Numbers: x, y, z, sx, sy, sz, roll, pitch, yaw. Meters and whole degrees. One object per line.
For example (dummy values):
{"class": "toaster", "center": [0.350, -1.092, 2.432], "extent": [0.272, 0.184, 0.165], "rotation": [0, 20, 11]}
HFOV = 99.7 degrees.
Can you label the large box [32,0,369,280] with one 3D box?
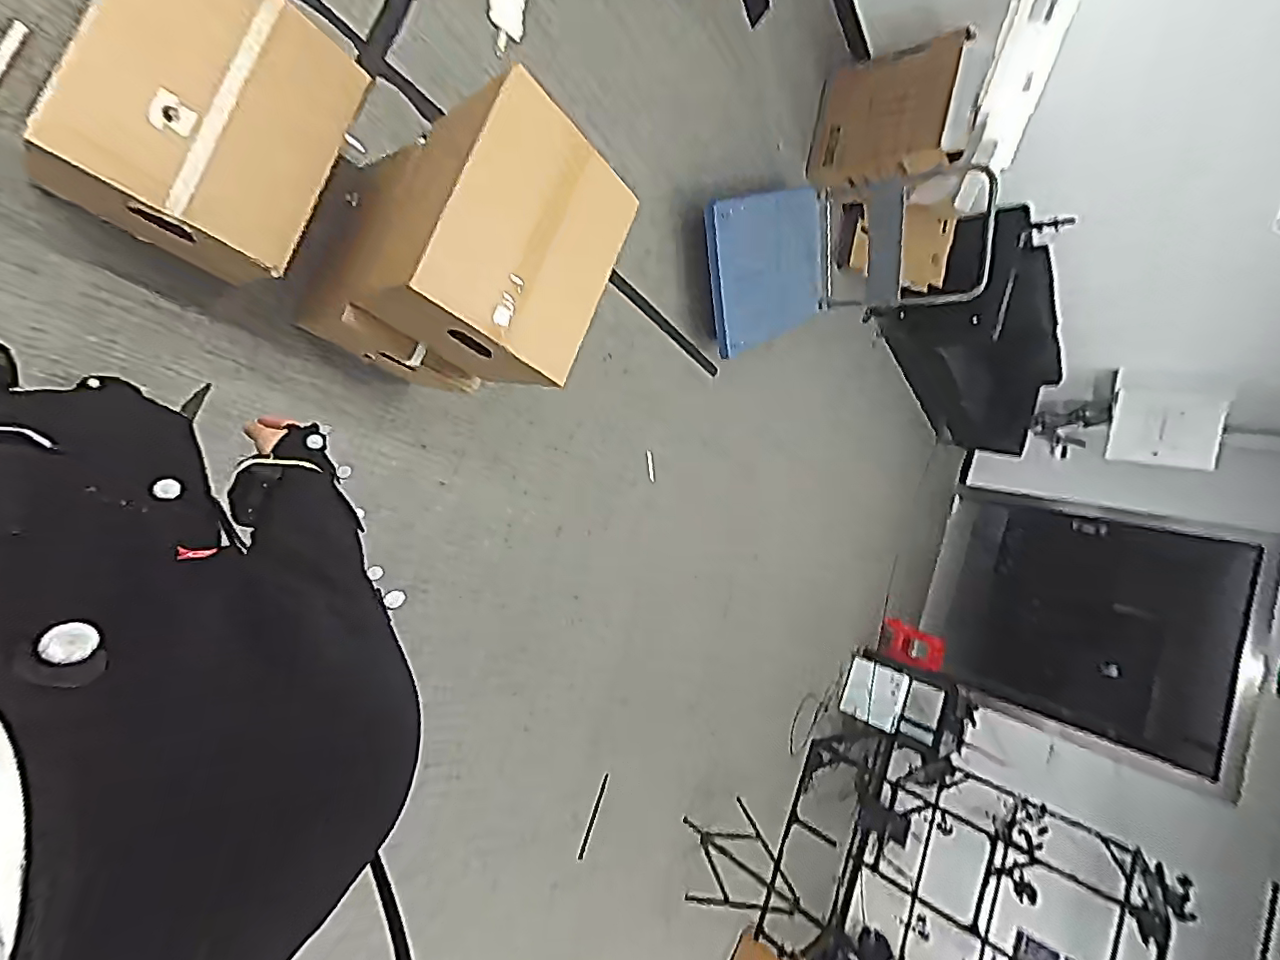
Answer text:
{"class": "large box", "center": [-0.743, -0.610, 0.929], "extent": [0.320, 0.320, 0.408], "rotation": [27, 81, -48]}
